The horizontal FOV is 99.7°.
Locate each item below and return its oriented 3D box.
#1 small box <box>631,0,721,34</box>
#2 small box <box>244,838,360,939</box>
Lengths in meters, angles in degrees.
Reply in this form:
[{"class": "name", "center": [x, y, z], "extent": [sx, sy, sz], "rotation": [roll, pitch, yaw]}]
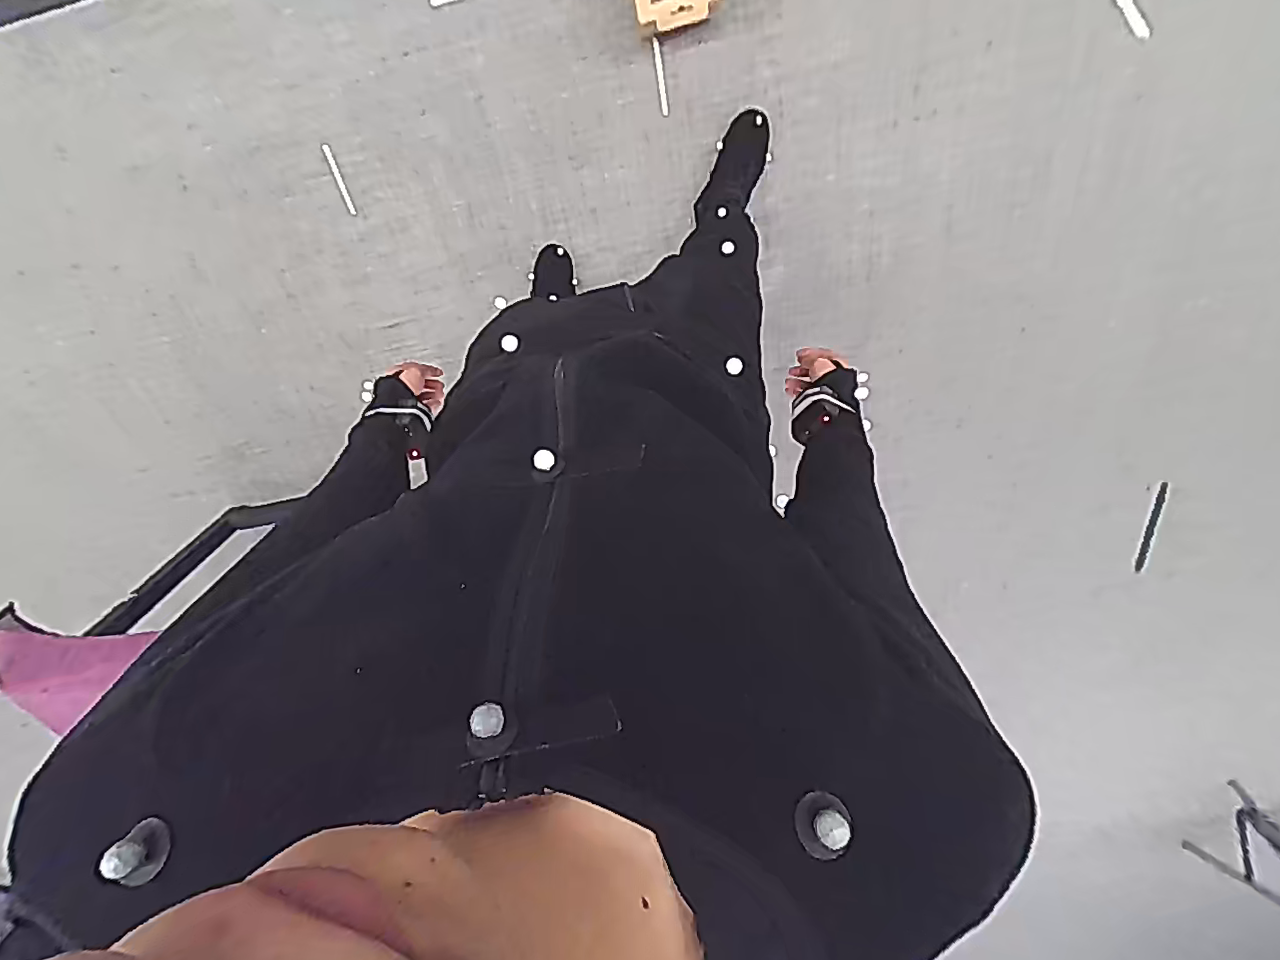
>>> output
[{"class": "small box", "center": [0.059, -1.004, 1.055], "extent": [0.168, 0.176, 0.179], "rotation": [-12, 120, 6]}, {"class": "small box", "center": [-0.910, 1.109, 1.474], "extent": [0.179, 0.176, 0.168], "rotation": [-10, 121, 6]}]
